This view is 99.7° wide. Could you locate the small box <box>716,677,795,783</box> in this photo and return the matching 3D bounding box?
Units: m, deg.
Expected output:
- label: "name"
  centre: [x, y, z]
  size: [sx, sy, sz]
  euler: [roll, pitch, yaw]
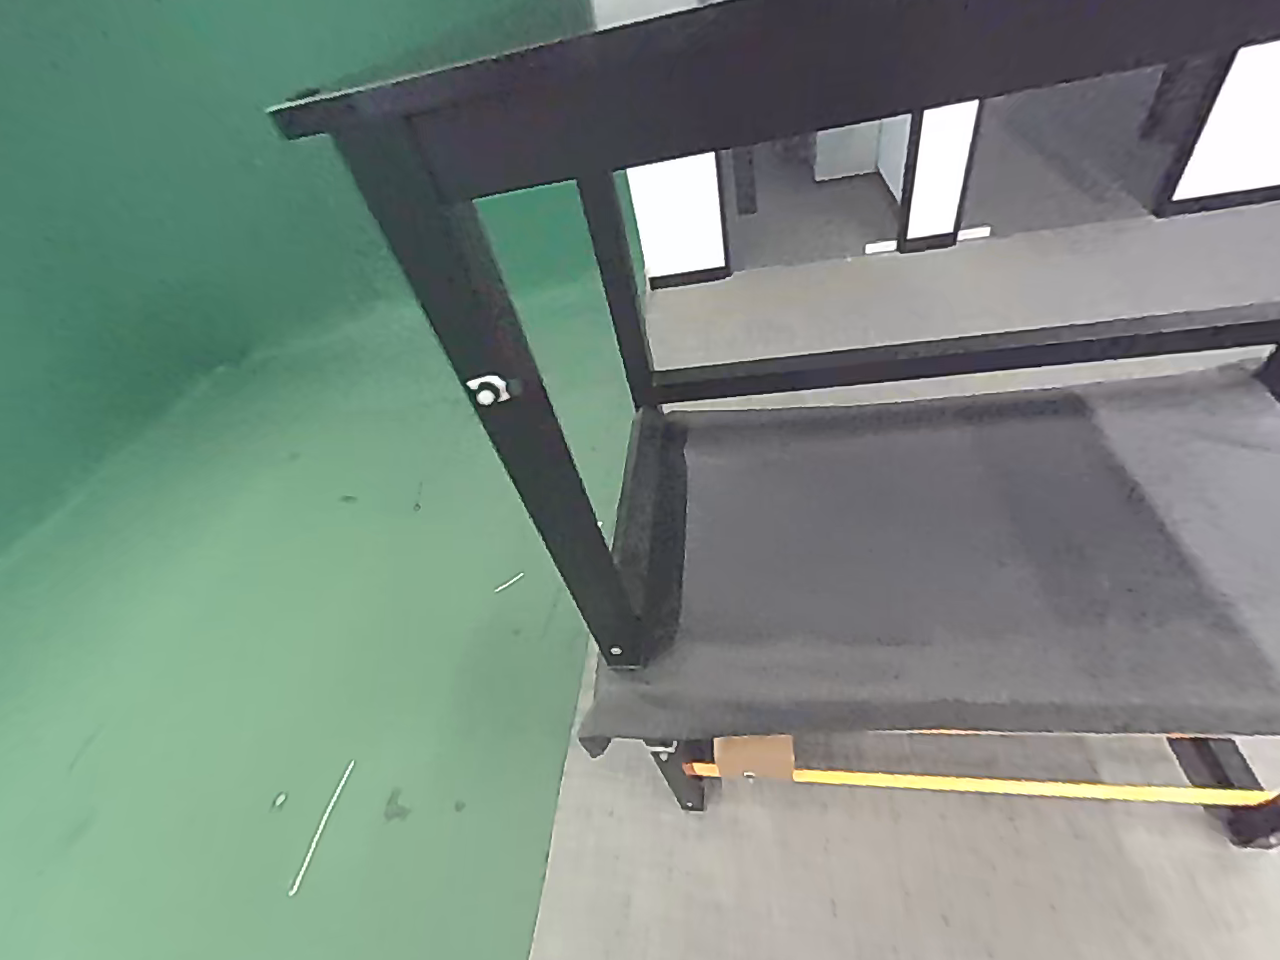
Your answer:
- label: "small box"
  centre: [0.261, 0.571, 1.238]
  size: [0.168, 0.176, 0.179]
  euler: [-4, 47, 11]
